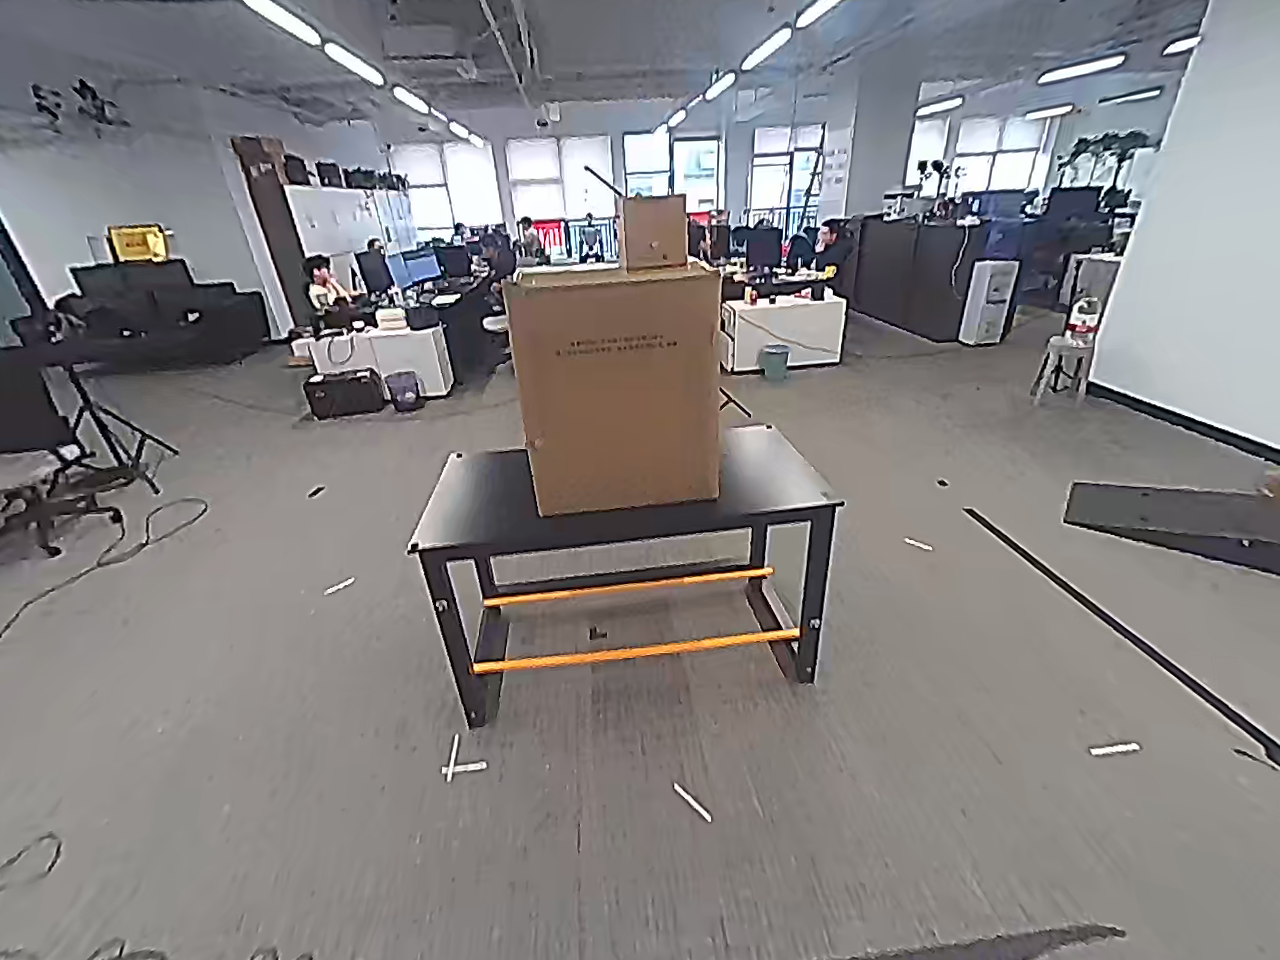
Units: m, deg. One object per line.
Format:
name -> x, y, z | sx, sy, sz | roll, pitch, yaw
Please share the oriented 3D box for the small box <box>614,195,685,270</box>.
small box -> 0.022, -0.661, 1.450 | 0.168, 0.176, 0.179 | -8, 27, -5
